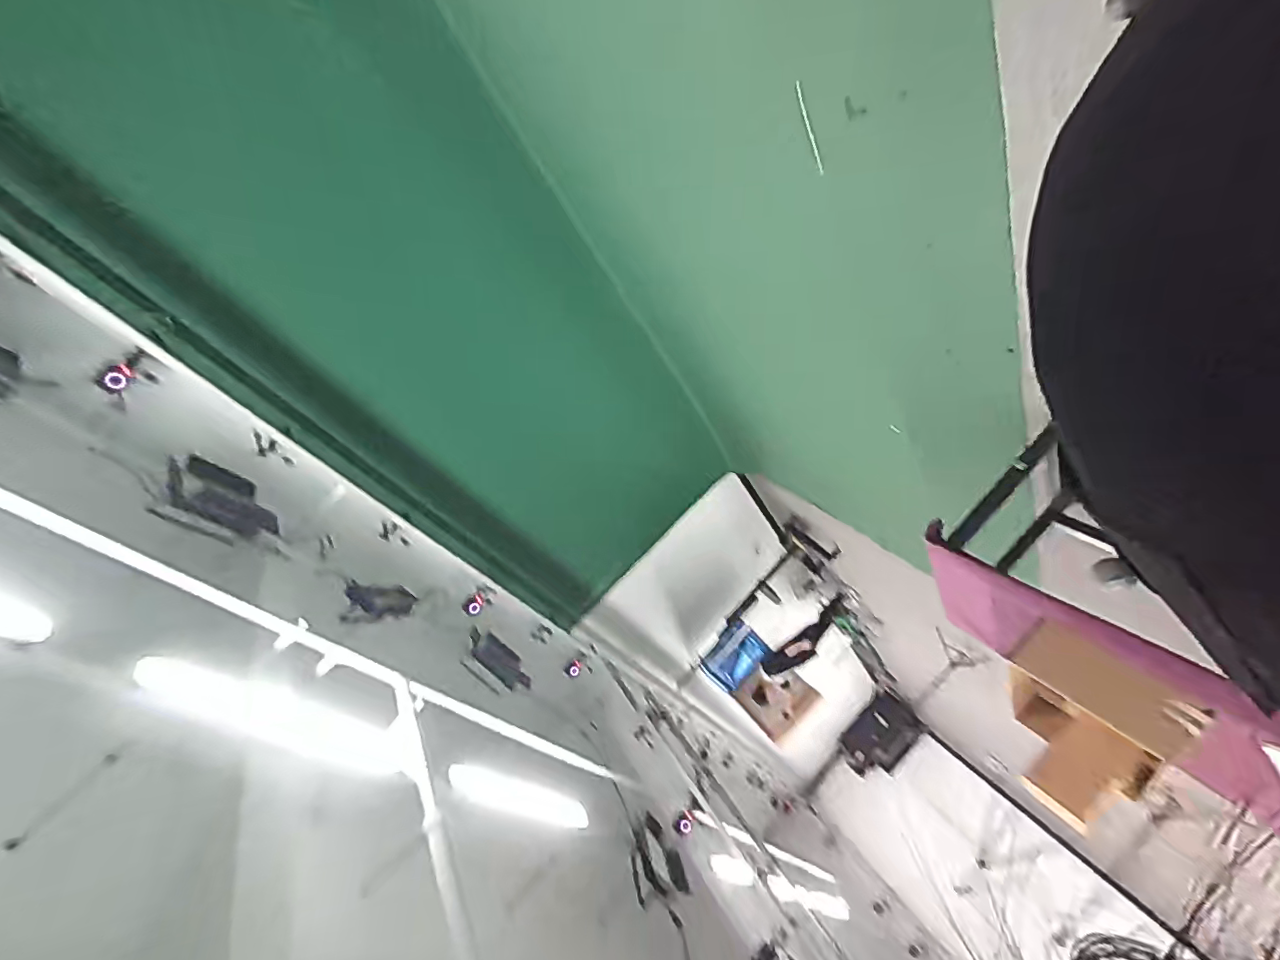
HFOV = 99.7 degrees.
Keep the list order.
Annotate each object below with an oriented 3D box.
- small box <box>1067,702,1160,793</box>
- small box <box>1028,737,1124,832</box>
[{"bbox_3d":[1.467,0.829,1.686,0.168,0.176,0.179,39,171,48],"label":"small box"},{"bbox_3d":[1.348,0.937,1.672,0.168,0.176,0.179,51,173,-38],"label":"small box"}]
